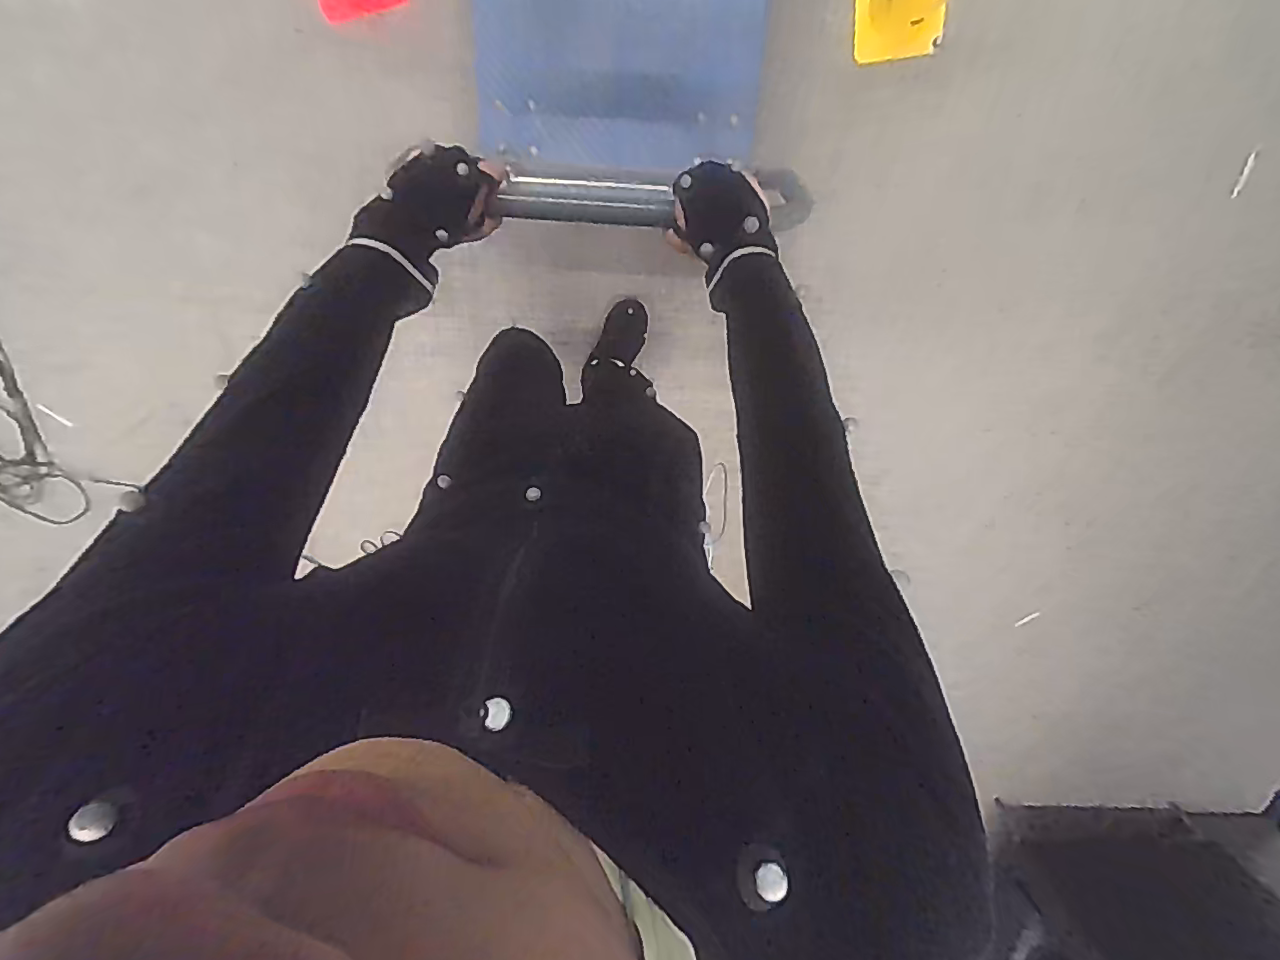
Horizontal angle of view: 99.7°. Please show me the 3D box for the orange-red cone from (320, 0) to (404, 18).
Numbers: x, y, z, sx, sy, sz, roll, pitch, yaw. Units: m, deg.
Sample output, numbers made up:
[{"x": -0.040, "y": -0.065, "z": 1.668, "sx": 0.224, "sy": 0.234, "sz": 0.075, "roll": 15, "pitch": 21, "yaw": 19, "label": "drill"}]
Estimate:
[{"x": -0.602, "y": -1.030, "z": 0.975, "sx": 0.199, "sy": 0.360, "sz": 0.198, "roll": -10, "pitch": 114, "yaw": 5, "label": "orange-red cone"}]
